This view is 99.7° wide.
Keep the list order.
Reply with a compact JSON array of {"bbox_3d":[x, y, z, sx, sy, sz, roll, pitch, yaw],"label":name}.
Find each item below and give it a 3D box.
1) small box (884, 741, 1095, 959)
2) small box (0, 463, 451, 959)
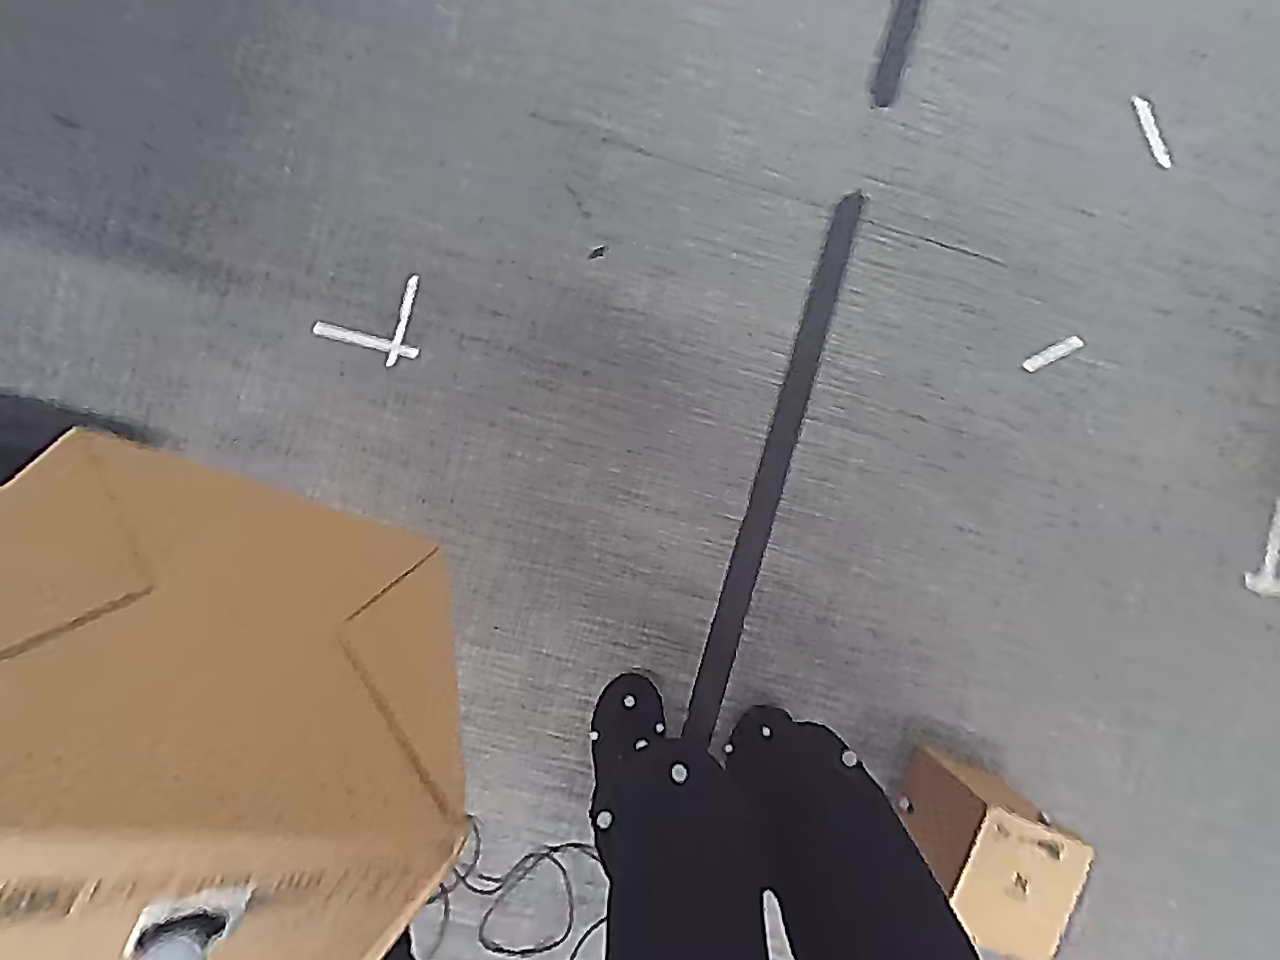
[{"bbox_3d":[0.491,0.526,0.791,0.168,0.176,0.179,24,90,-4],"label":"small box"},{"bbox_3d":[-0.192,0.113,0.216,0.168,0.179,0.176,26,106,-33],"label":"small box"}]
